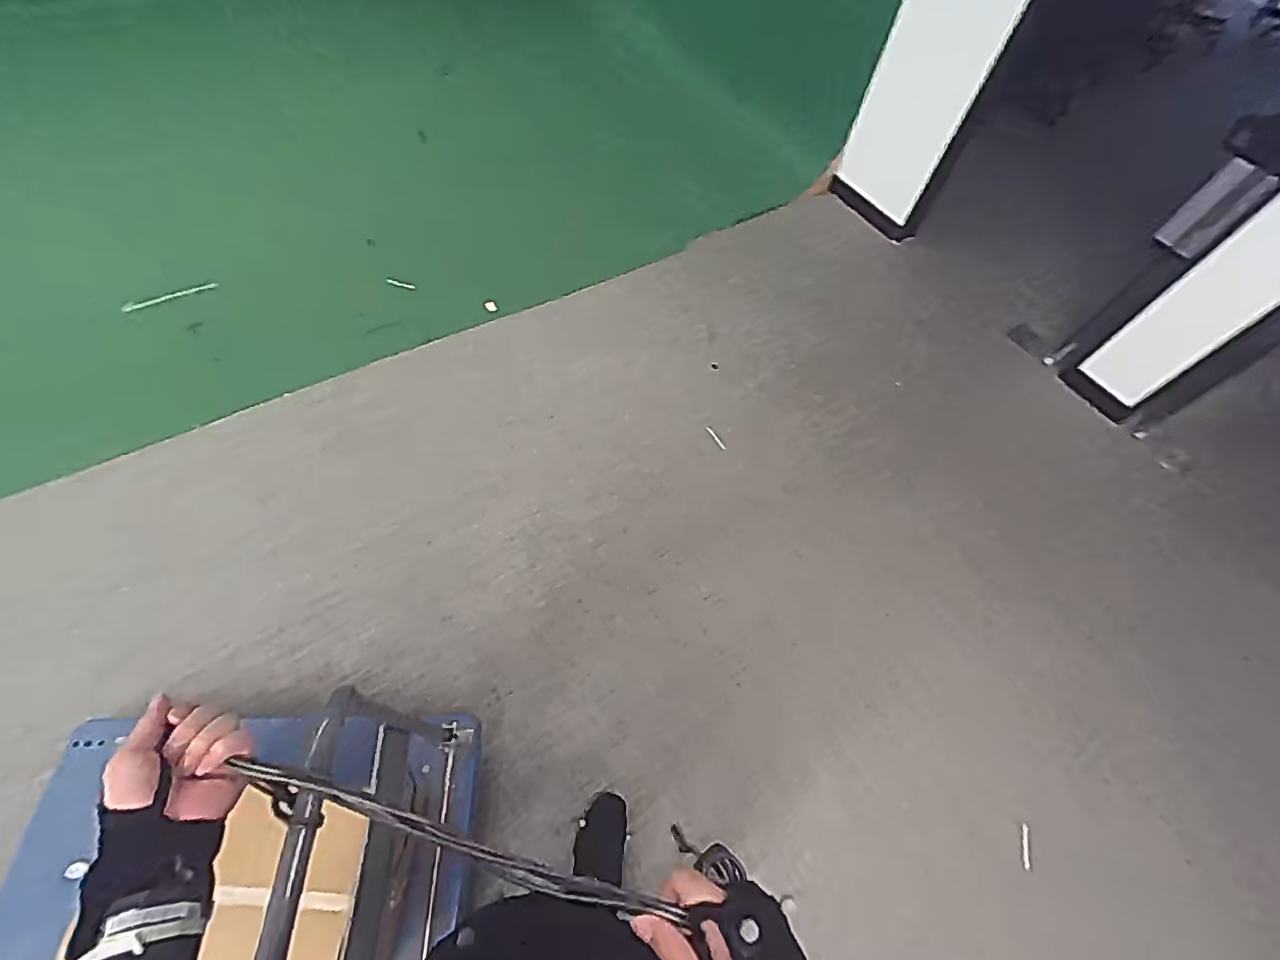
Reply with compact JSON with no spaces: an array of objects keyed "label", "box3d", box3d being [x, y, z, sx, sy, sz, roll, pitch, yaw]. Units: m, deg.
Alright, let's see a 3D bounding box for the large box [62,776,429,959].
[{"label":"large box","box3d":[-0.646,0.713,0.962,0.408,0.320,0.320,5,60,-2]}]
